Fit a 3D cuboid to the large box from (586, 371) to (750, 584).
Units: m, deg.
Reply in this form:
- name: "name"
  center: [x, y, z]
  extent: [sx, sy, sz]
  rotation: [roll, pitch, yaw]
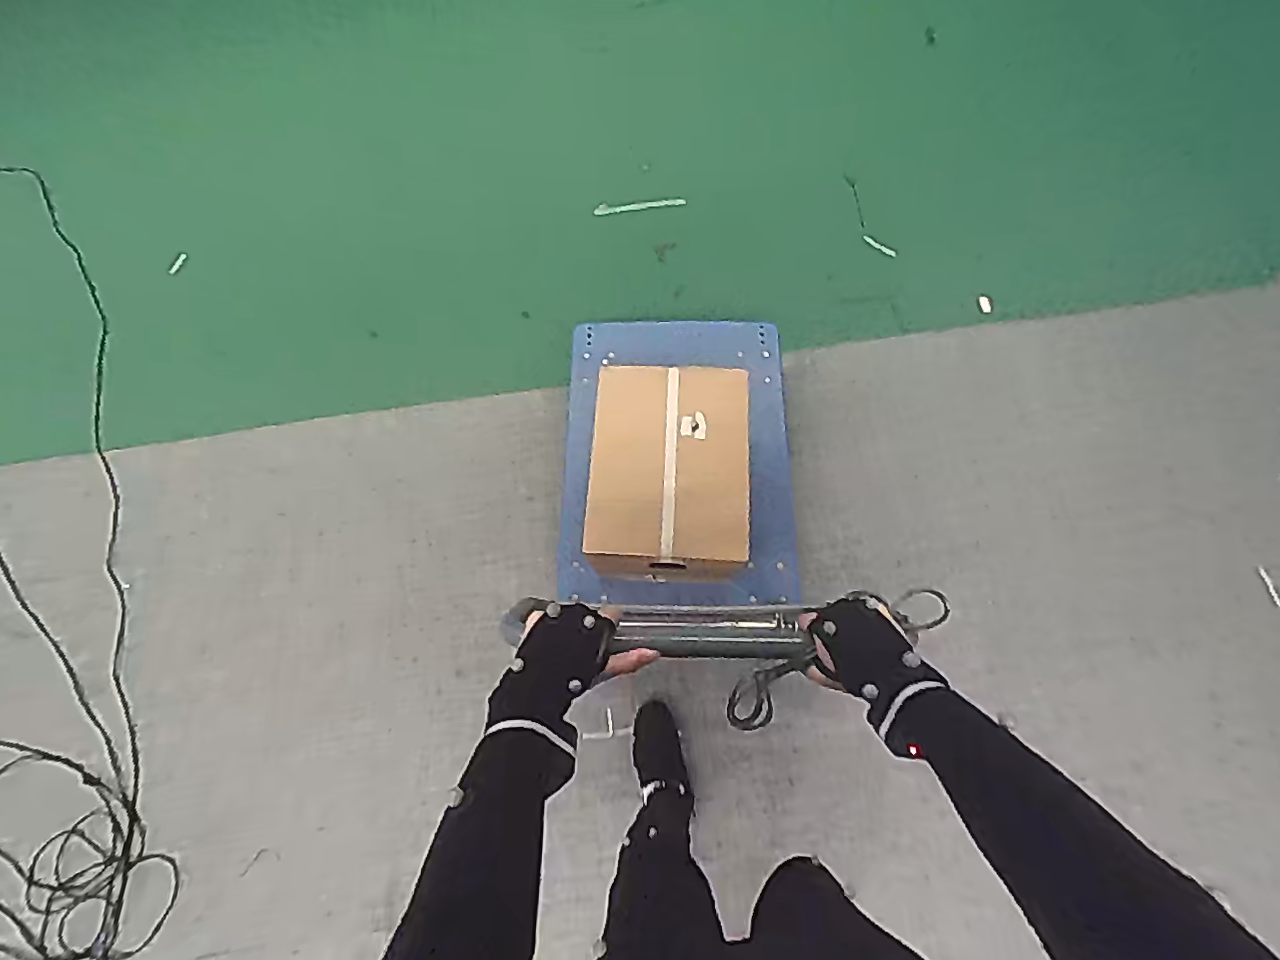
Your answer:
- name: "large box"
  center: [0.065, 0.010, 1.216]
  extent: [0.320, 0.320, 0.408]
  rotation: [3, 71, 2]
